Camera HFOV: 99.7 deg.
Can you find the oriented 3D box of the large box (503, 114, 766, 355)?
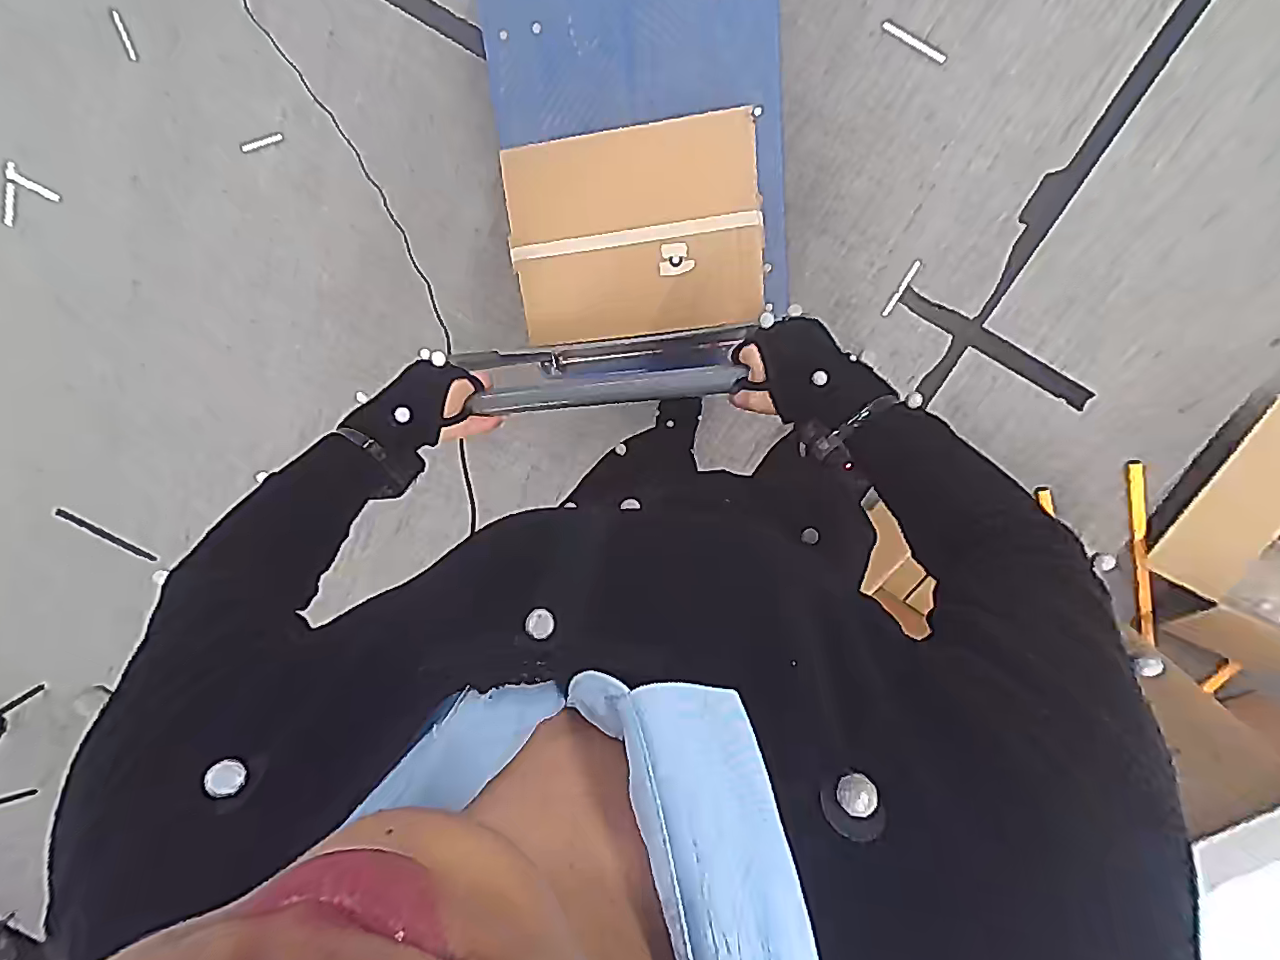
[{"bbox_3d":[0.009,-0.423,1.019,0.408,0.320,0.320,-5,106,8],"label":"large box"}]
